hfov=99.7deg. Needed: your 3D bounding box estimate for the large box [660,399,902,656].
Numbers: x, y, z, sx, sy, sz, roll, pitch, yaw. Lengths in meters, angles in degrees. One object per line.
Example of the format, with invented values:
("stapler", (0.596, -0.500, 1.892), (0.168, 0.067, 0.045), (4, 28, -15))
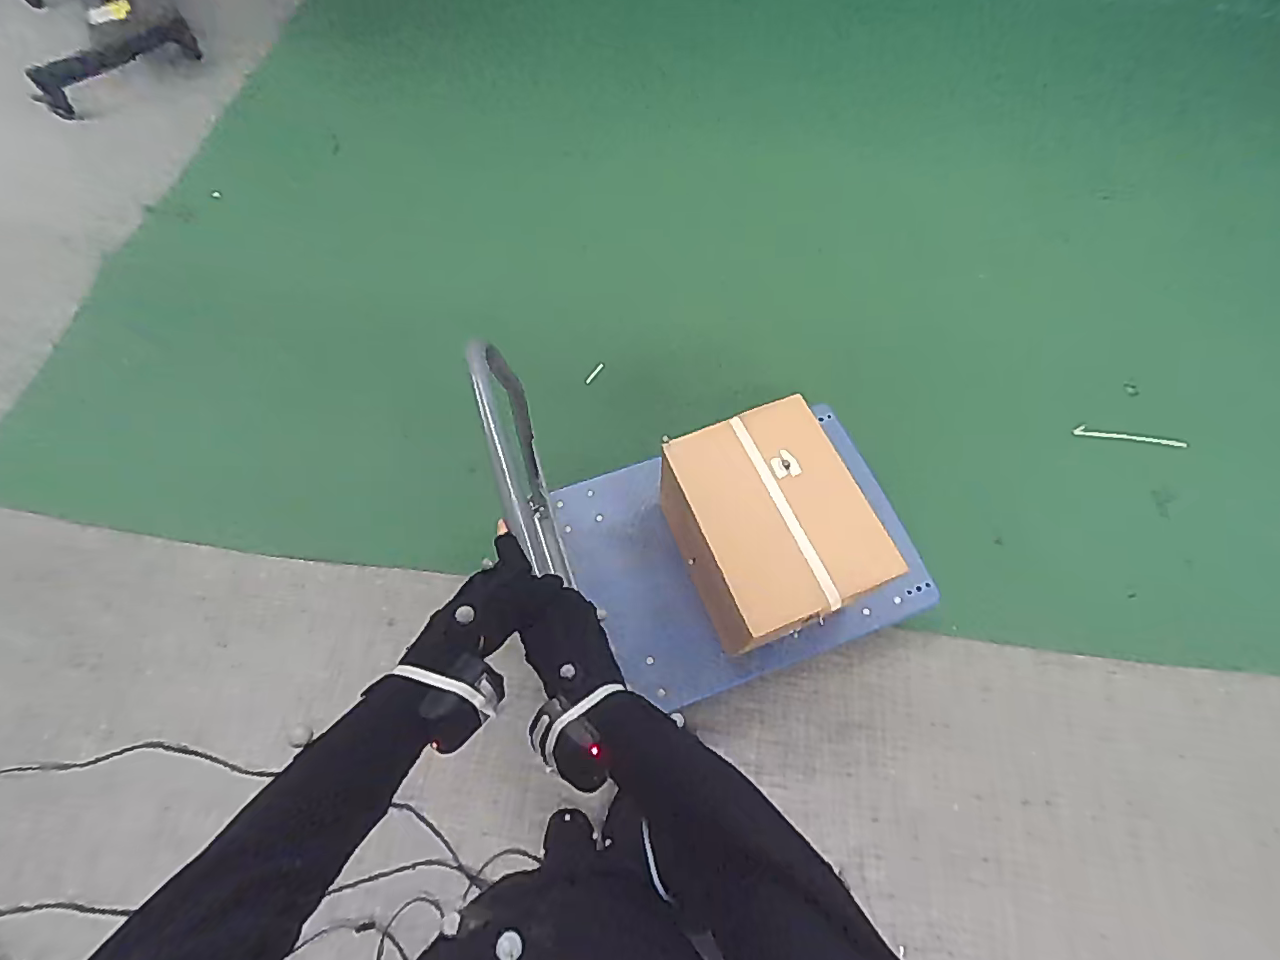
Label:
("large box", (0.258, 0.111, 1.154), (0.320, 0.320, 0.408), (-20, 66, -9))
